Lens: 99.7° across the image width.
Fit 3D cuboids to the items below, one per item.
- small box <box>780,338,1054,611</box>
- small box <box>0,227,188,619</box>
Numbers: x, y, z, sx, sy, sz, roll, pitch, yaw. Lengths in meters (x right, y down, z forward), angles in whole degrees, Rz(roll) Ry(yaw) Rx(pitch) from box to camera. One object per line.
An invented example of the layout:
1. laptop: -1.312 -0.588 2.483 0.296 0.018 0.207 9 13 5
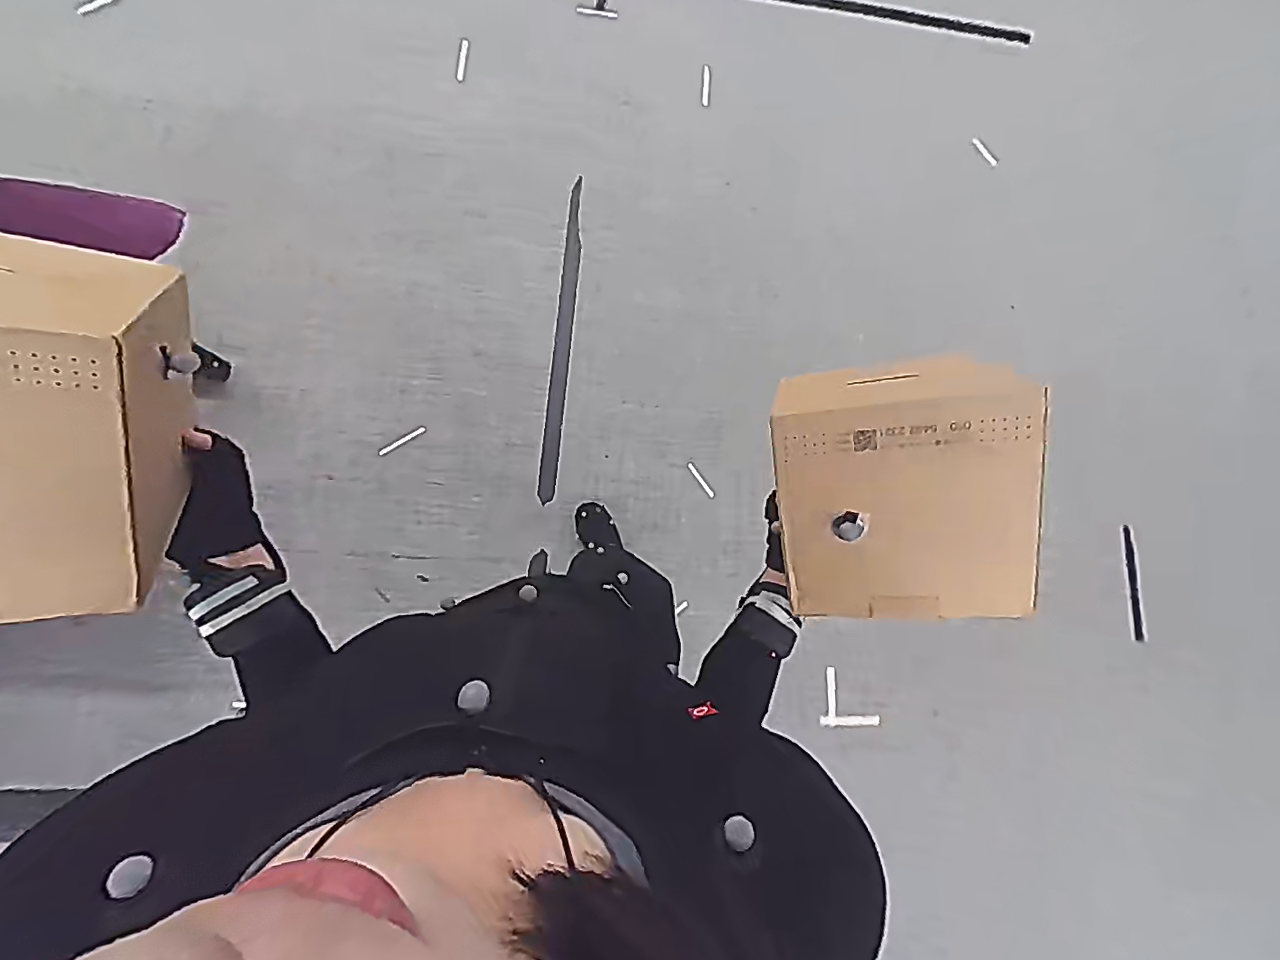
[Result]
1. small box: 0.206 -0.012 0.438 0.168 0.179 0.176 -4 109 18
2. small box: -0.368 -0.042 0.291 0.168 0.179 0.176 3 117 -32
